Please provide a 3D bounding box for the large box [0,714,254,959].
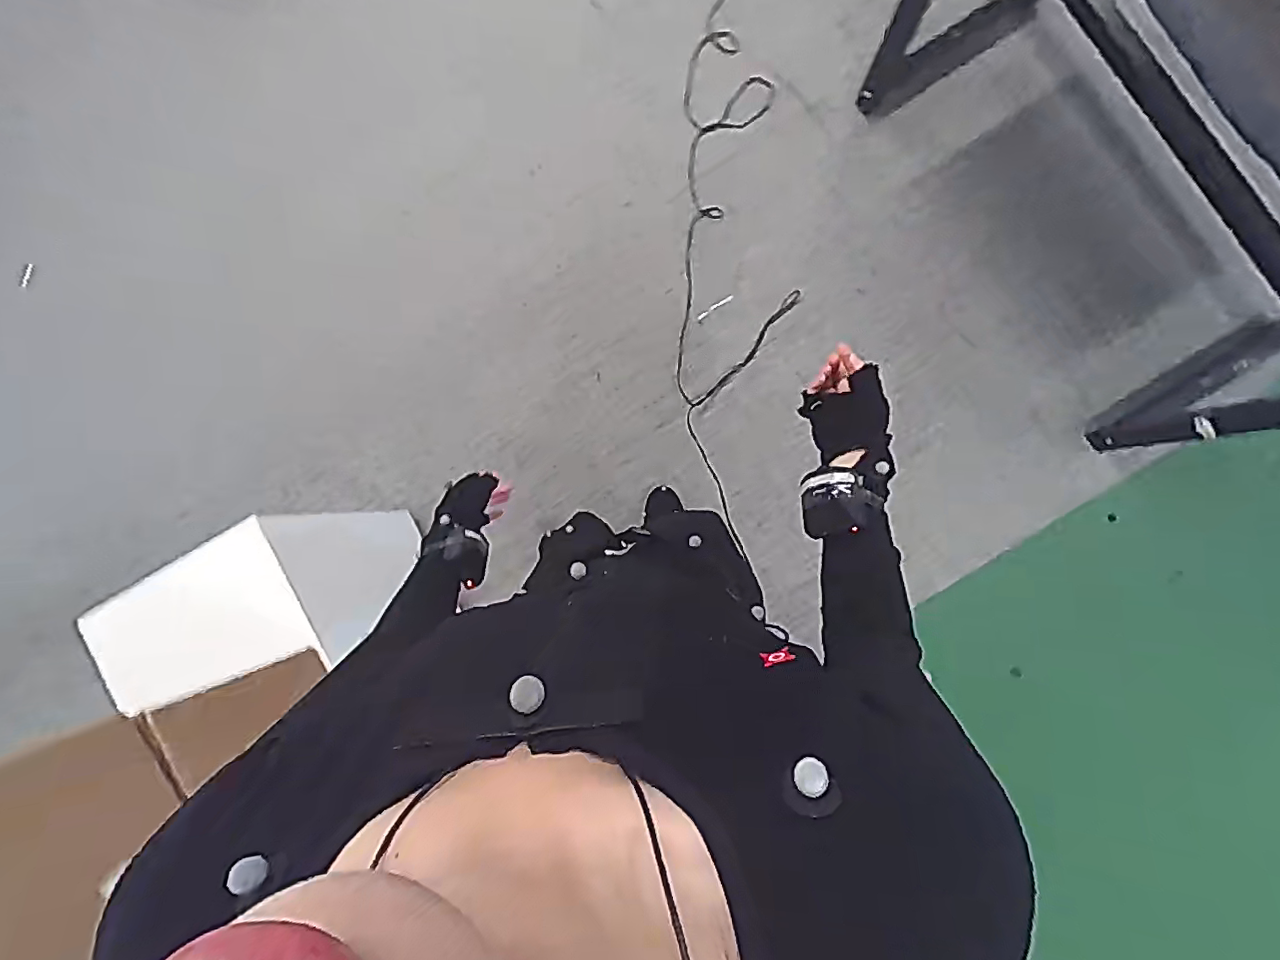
[{"bbox_3d":[-0.690,0.503,0.491,0.408,0.320,0.320,-35,85,3],"label":"large box"}]
